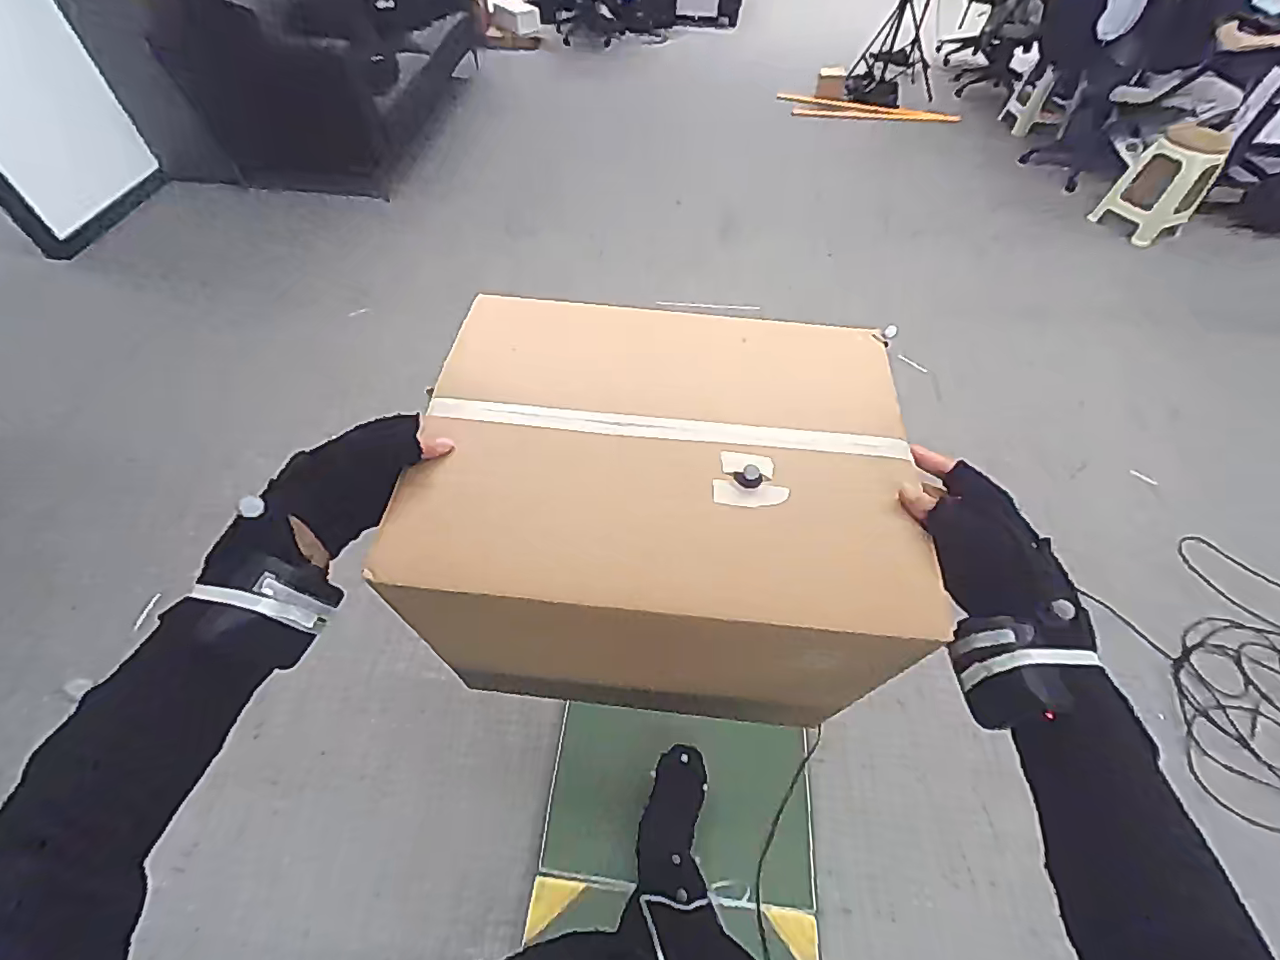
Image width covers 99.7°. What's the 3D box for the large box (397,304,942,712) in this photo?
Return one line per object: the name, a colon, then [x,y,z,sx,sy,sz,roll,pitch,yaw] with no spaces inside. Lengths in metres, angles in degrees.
large box: [0.023,0.044,0.592,0.408,0.320,0.320,6,56,0]
